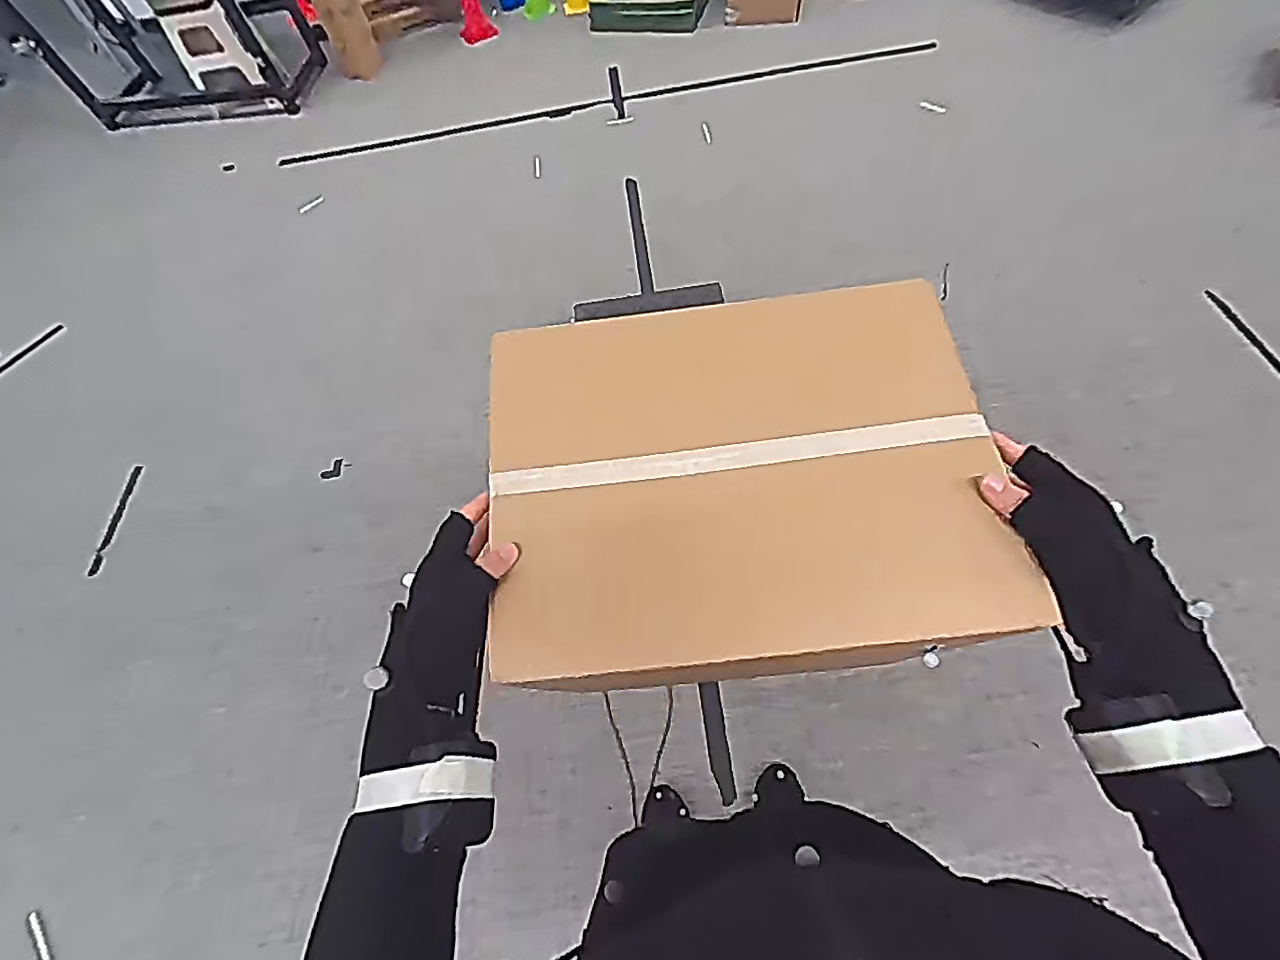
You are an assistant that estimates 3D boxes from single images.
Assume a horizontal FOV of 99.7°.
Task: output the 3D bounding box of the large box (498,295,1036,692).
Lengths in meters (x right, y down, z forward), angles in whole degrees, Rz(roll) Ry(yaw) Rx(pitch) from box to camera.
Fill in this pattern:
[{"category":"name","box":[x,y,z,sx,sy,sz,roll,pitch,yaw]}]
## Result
[{"category":"large box","box":[0.089,0.046,0.589,0.408,0.320,0.320,-6,67,1]}]
